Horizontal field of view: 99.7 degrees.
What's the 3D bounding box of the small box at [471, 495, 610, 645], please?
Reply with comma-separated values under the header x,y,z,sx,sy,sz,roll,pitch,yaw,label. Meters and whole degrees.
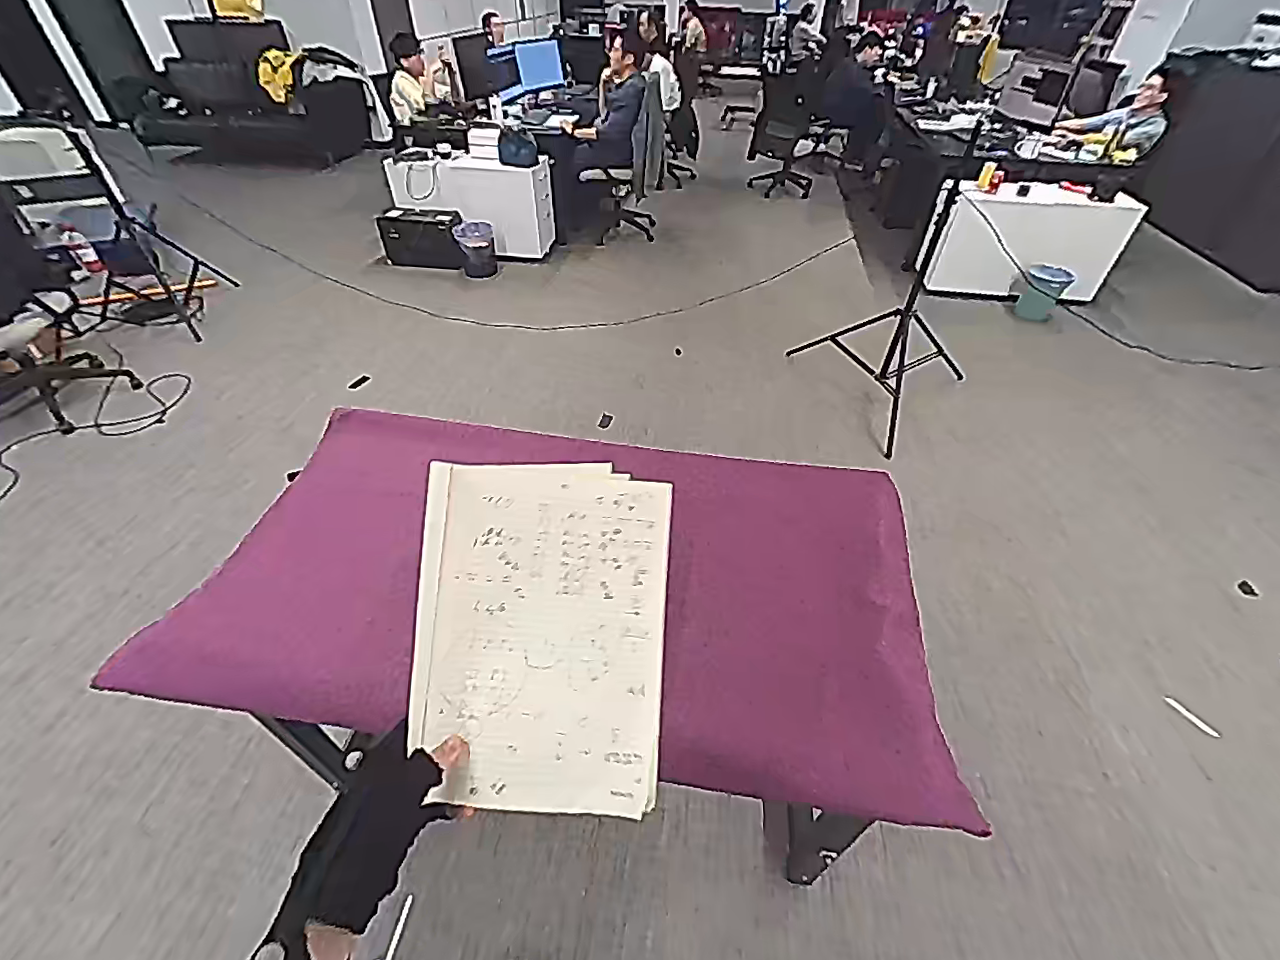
x,y,z,sx,sy,sz,roll,pitch,yaw,label
-0.149,0.148,0.881,0.179,0.176,0.168,7,42,5,small box
